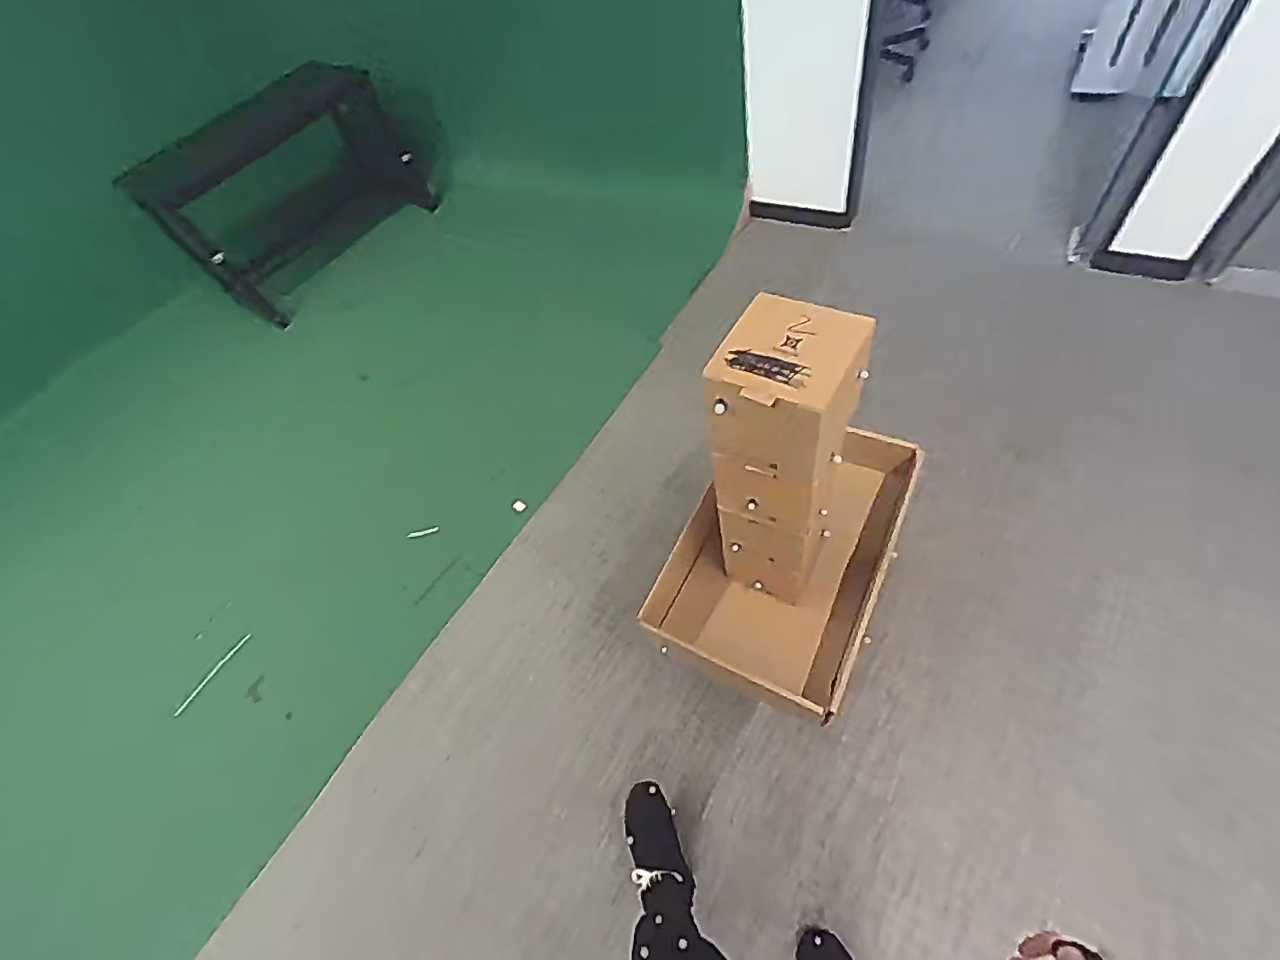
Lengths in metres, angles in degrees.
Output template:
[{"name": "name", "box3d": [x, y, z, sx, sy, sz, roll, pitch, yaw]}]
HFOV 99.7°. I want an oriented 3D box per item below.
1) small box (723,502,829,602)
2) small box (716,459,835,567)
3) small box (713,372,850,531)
[{"name": "small box", "box3d": [0.290, 0.131, 1.167, 0.168, 0.176, 0.179, 20, 63, 25]}, {"name": "small box", "box3d": [0.260, 0.040, 1.035, 0.168, 0.176, 0.179, 19, 61, 23]}, {"name": "small box", "box3d": [0.231, -0.045, 0.900, 0.168, 0.176, 0.179, 19, 63, 22]}]
